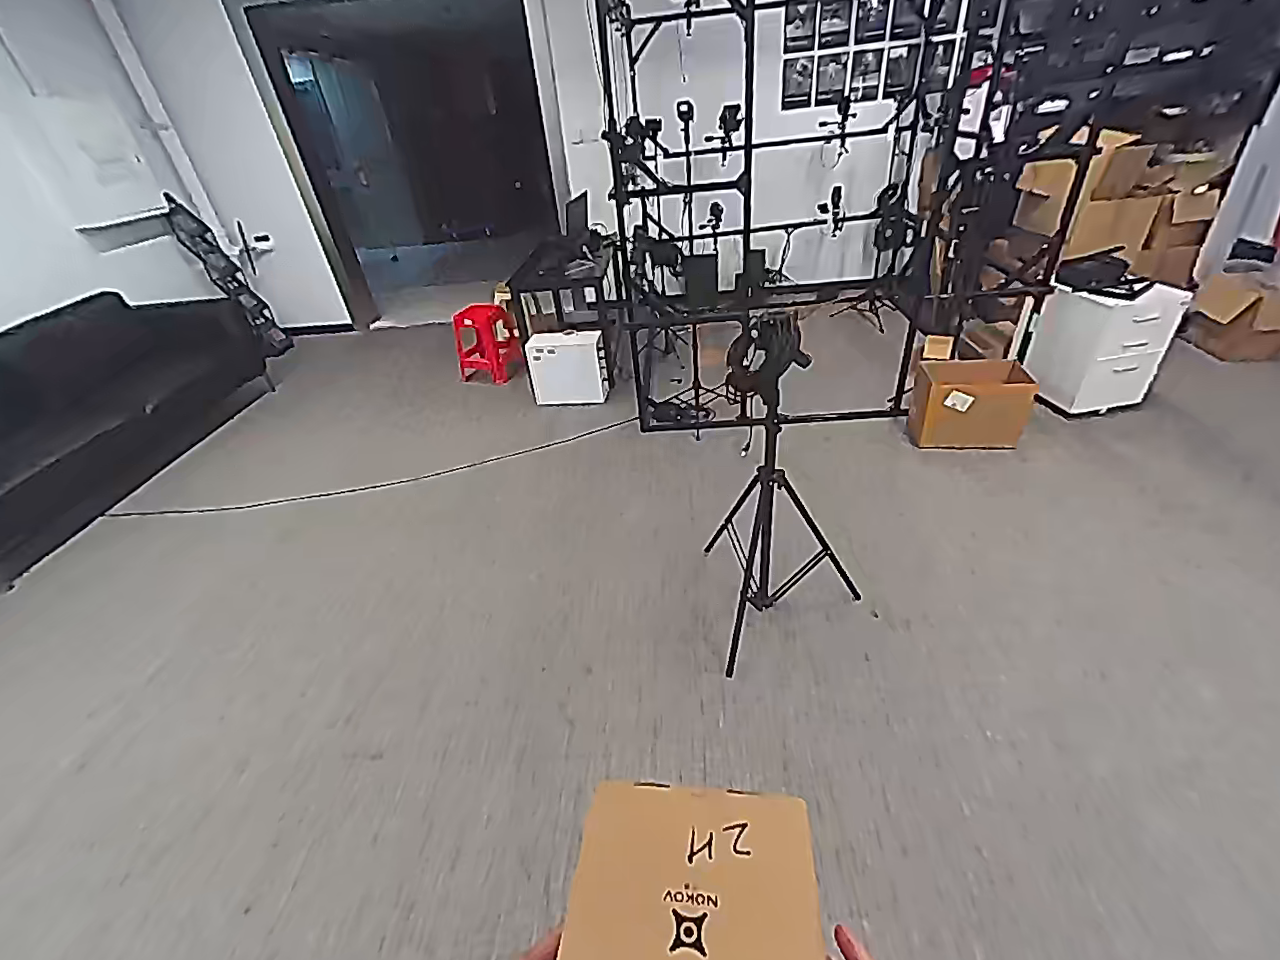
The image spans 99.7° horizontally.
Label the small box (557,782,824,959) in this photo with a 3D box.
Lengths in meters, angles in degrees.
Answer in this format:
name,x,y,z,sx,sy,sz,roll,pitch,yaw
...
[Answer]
name,x,y,z,sx,sy,sz,roll,pitch,yaw
small box,0.040,0.355,0.385,0.168,0.176,0.179,0,28,9
